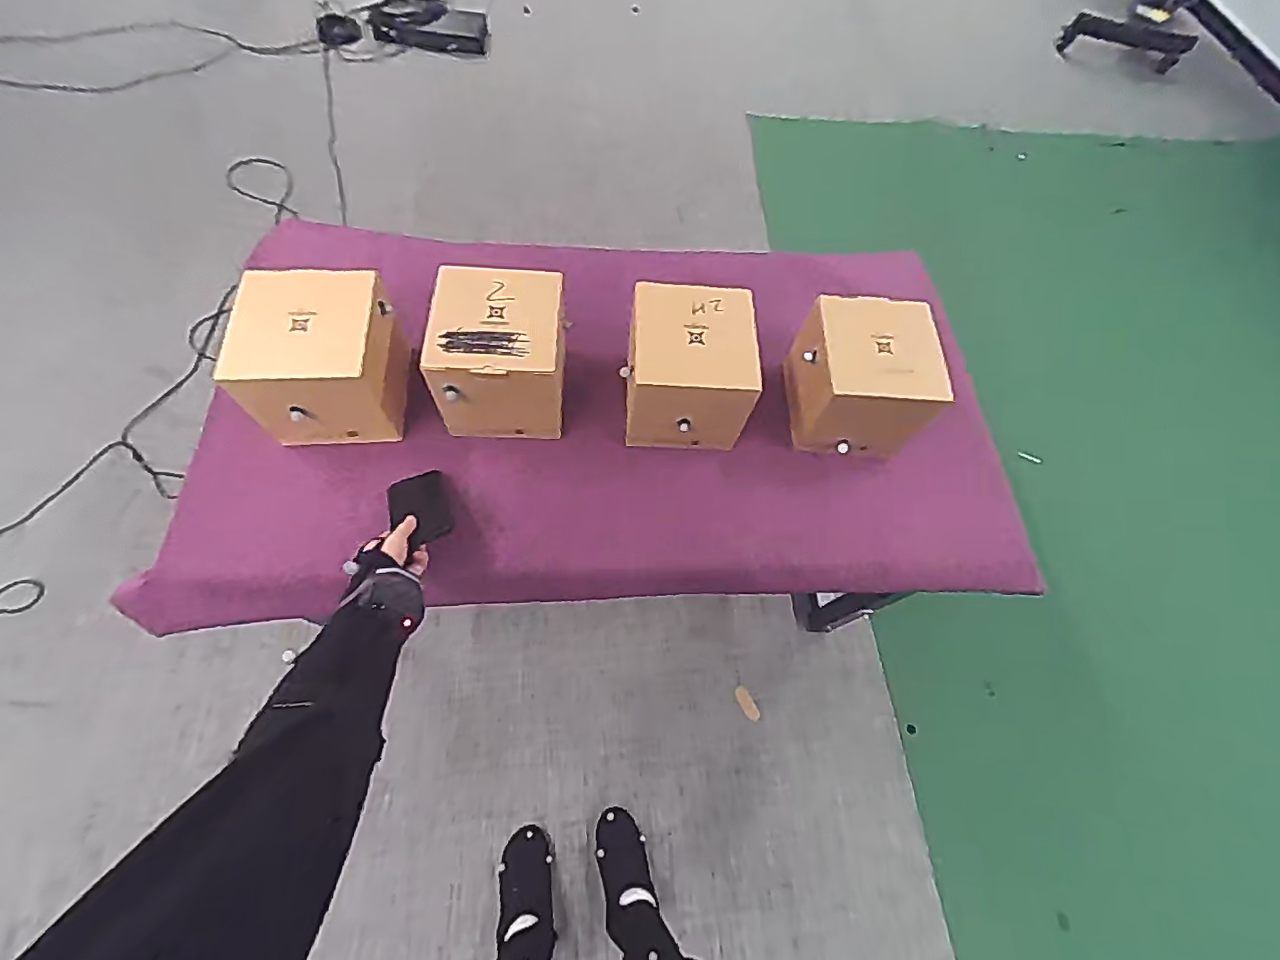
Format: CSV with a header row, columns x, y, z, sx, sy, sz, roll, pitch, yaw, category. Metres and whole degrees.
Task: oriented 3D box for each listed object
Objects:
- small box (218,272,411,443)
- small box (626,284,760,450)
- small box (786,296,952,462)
x,y,z,sx,sy,sz,roll,pitch,yaw,category
-0.429,-0.161,0.750,0.168,0.176,0.179,-3,64,-7,small box
0.069,-0.157,0.796,0.168,0.176,0.179,3,64,-5,small box
0.329,-0.147,0.818,0.168,0.176,0.179,4,64,-3,small box
